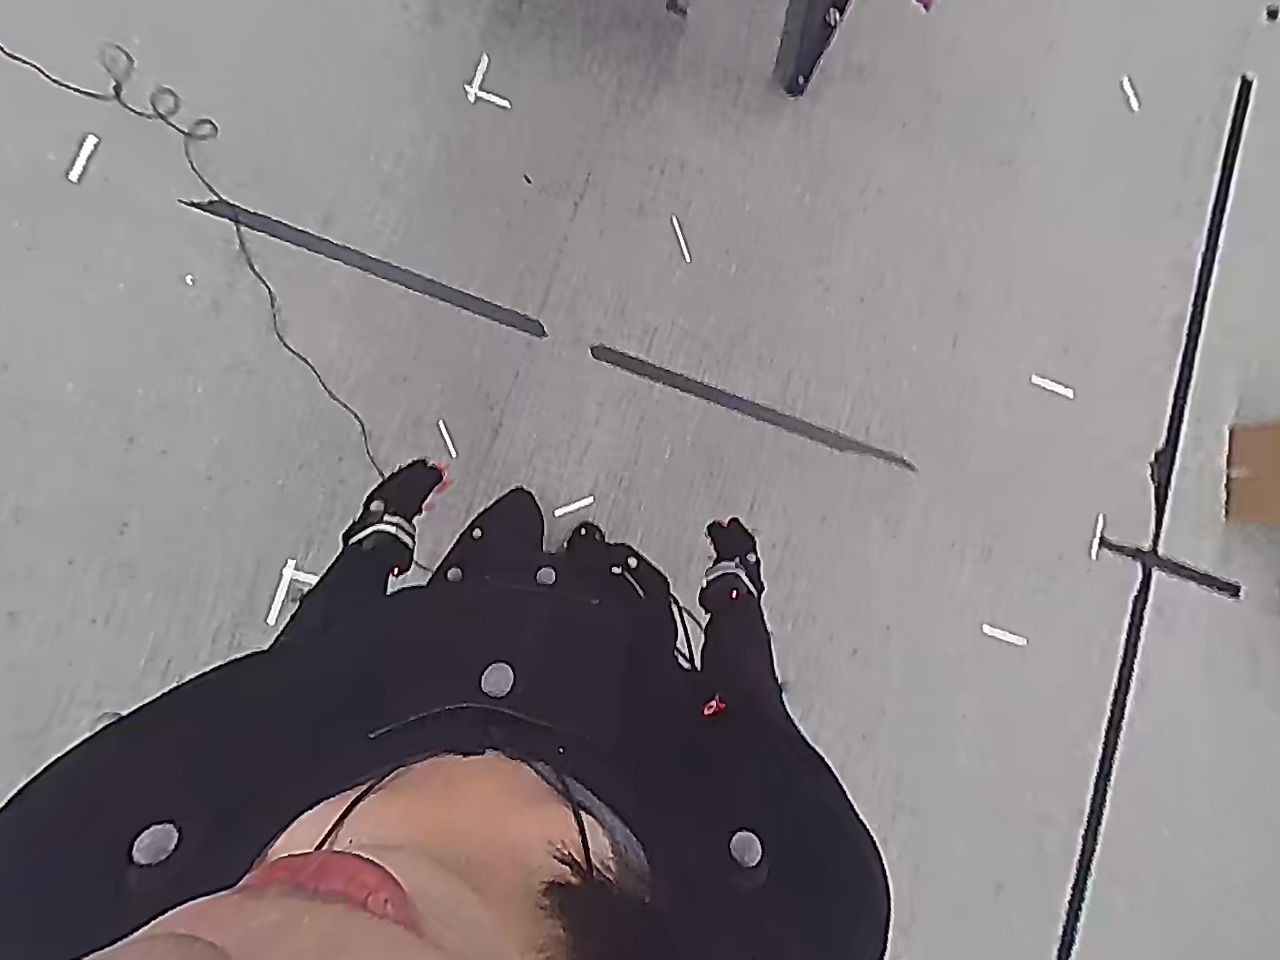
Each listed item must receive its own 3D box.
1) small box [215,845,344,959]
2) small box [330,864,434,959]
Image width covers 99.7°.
[{"bbox_3d":[-0.851,1.021,1.300,0.179,0.176,0.168,18,82,-4],"label":"small box"},{"bbox_3d":[-0.625,1.094,1.319,0.168,0.176,0.179,21,82,-5],"label":"small box"}]
